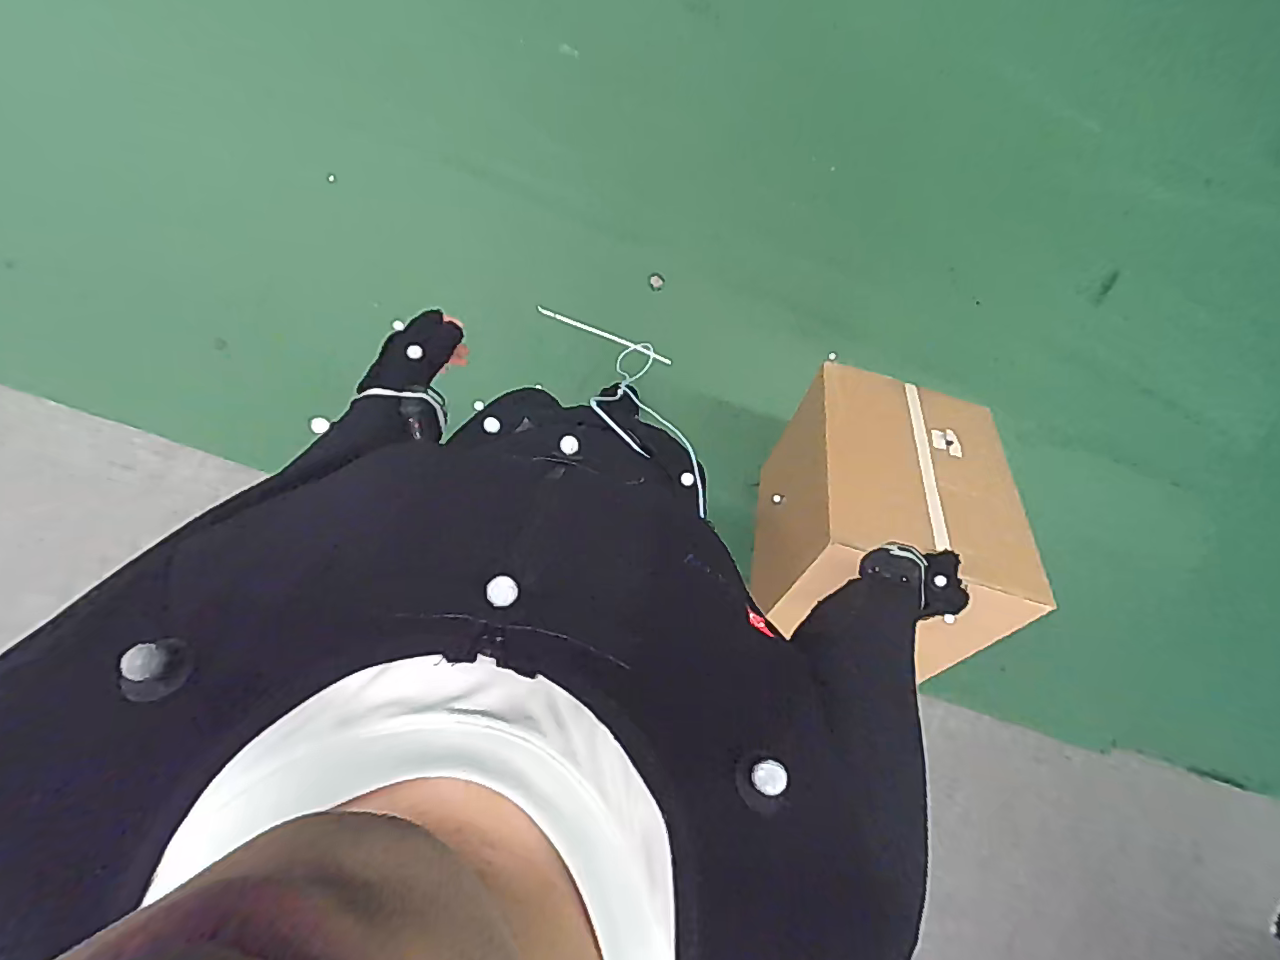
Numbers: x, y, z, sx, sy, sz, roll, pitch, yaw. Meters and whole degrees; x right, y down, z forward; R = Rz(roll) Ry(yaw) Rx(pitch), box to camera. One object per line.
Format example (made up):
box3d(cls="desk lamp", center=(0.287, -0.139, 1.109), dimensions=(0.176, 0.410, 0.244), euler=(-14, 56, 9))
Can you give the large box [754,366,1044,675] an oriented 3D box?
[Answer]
box3d(cls="large box", center=(0.406, 0.072, 0.961), dimensions=(0.320, 0.408, 0.320), euler=(17, 139, -2))
